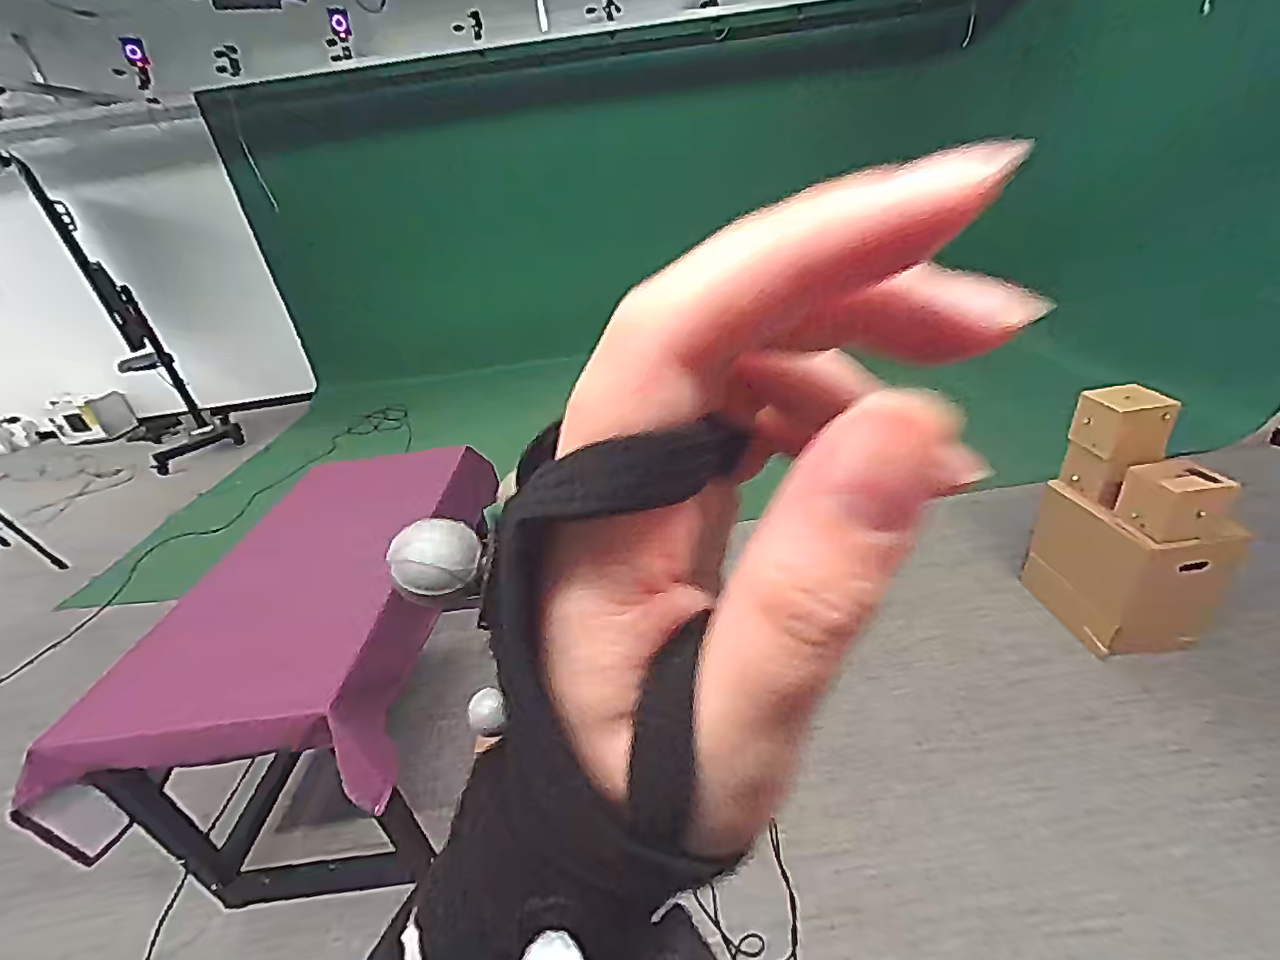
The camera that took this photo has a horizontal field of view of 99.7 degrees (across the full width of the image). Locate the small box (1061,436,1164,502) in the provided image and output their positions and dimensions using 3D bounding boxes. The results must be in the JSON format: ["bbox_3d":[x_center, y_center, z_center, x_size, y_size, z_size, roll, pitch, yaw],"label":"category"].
[{"bbox_3d":[1.539,-0.048,1.776,0.179,0.176,0.168,-9,31,2],"label":"small box"}]

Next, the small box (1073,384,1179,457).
[{"bbox_3d":[1.506,-0.185,1.694,0.179,0.176,0.168,-9,31,1],"label":"small box"}]
